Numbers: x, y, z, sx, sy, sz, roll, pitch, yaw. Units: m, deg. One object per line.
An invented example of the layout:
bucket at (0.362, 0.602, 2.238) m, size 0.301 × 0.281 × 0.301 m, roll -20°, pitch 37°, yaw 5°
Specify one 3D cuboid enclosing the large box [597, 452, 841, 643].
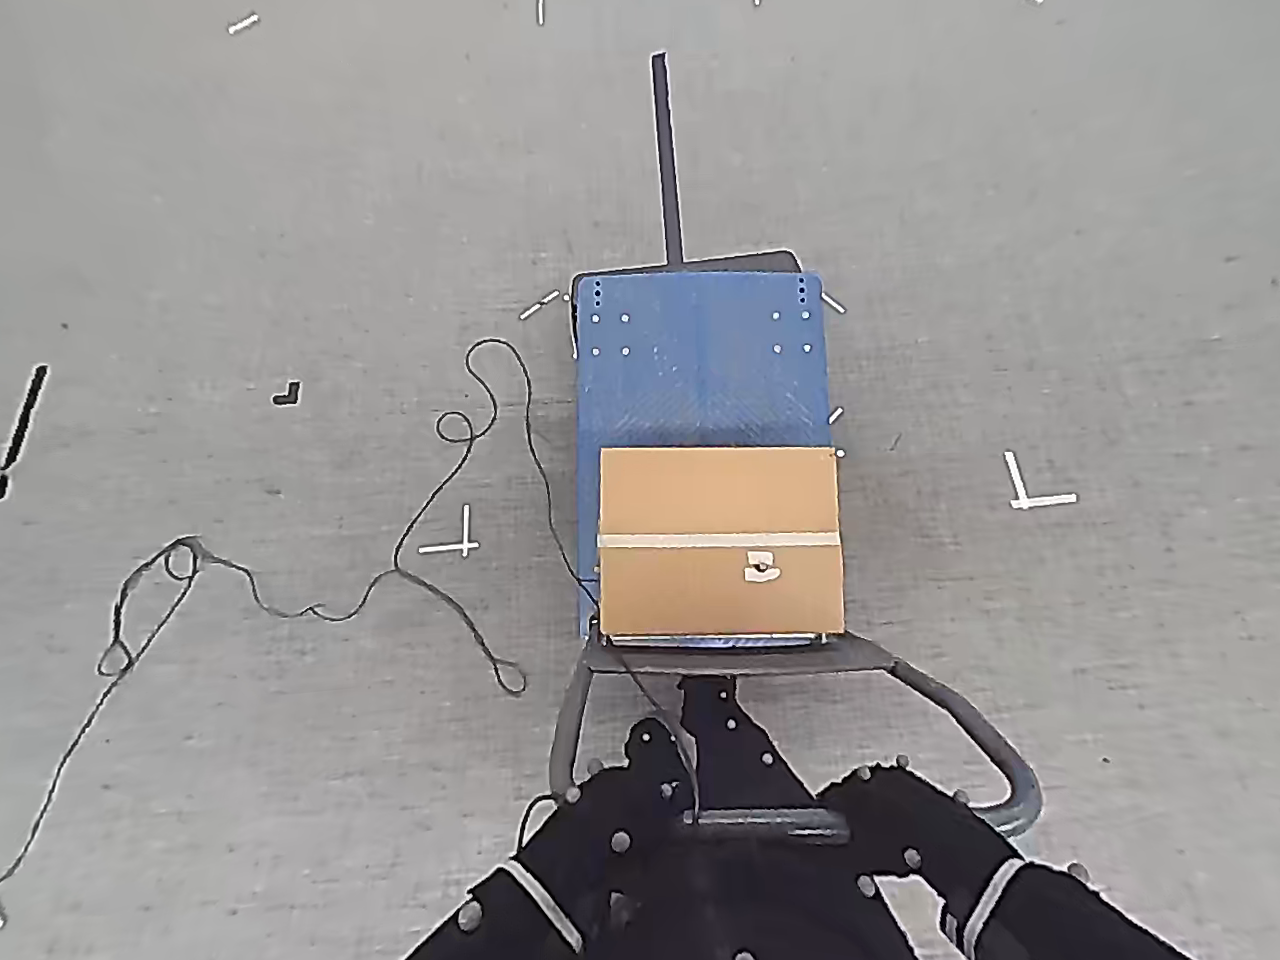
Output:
large box at (0.127, 0.126, 1.049) m, size 0.408 × 0.320 × 0.320 m, roll -1°, pitch 84°, yaw -1°
